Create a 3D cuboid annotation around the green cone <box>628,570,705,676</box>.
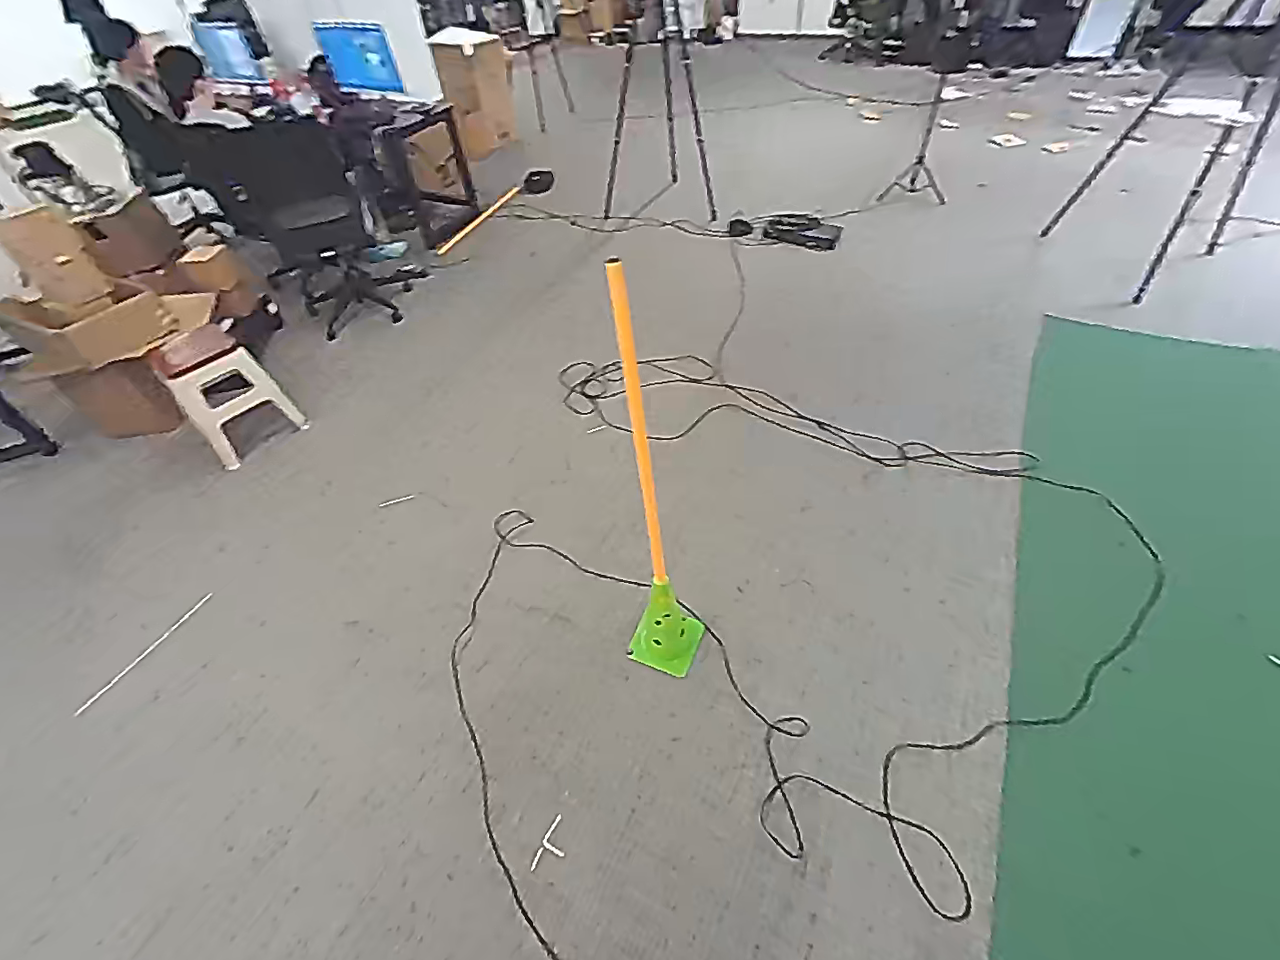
[{"bbox_3d":[0.075,0.385,1.584,0.200,0.368,0.202,16,49,19],"label":"green cone"}]
